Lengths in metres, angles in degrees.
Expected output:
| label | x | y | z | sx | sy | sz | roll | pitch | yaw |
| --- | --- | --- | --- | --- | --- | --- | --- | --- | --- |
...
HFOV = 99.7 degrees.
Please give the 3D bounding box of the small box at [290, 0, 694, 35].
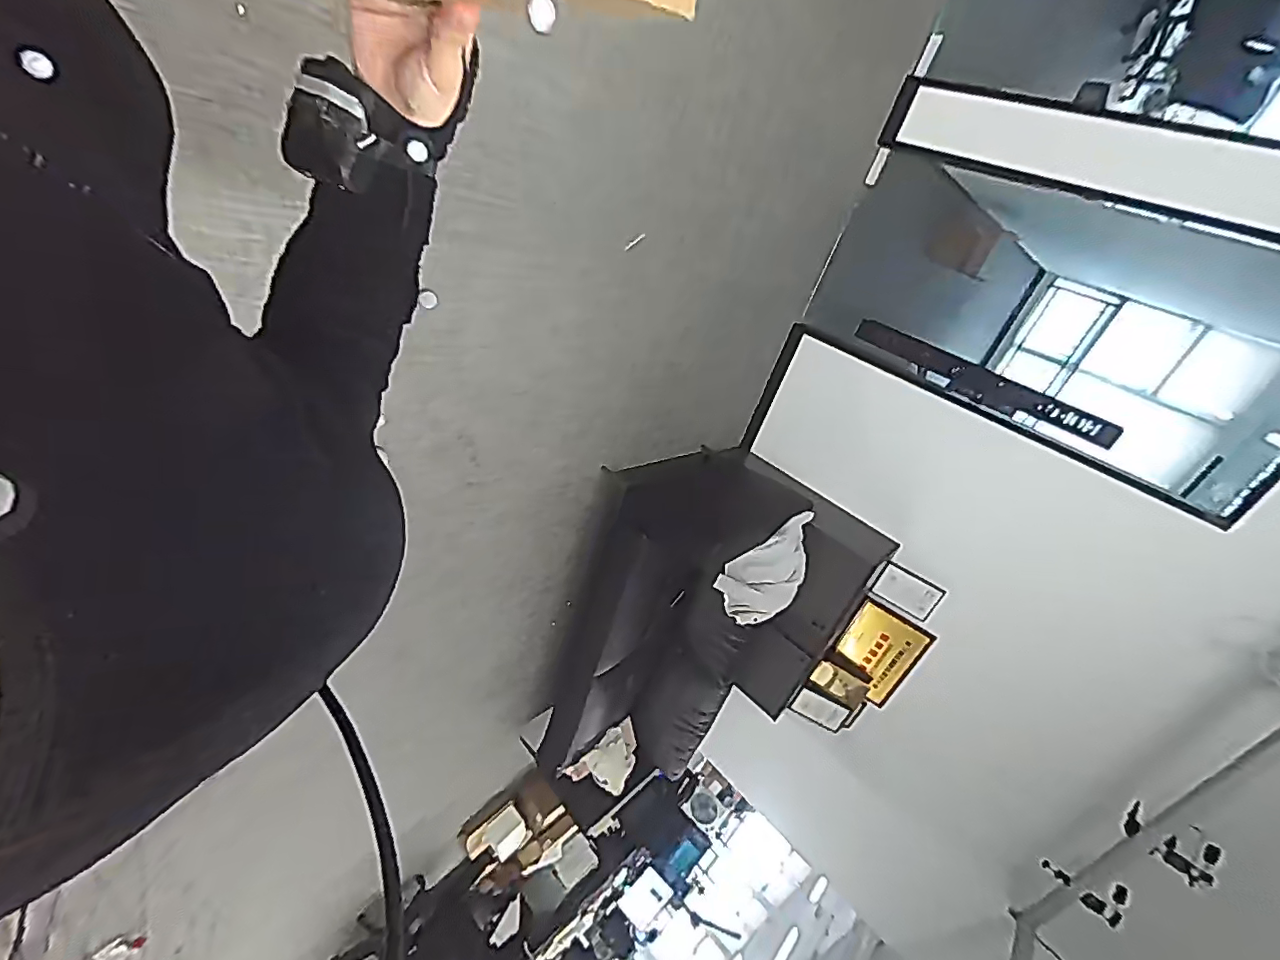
| label | x | y | z | sx | sy | sz | roll | pitch | yaw |
| --- | --- | --- | --- | --- | --- | --- | --- | --- | --- |
| small box | -0.079 | -0.292 | 0.205 | 0.168 | 0.176 | 0.179 | -45 | 148 | -47 |
